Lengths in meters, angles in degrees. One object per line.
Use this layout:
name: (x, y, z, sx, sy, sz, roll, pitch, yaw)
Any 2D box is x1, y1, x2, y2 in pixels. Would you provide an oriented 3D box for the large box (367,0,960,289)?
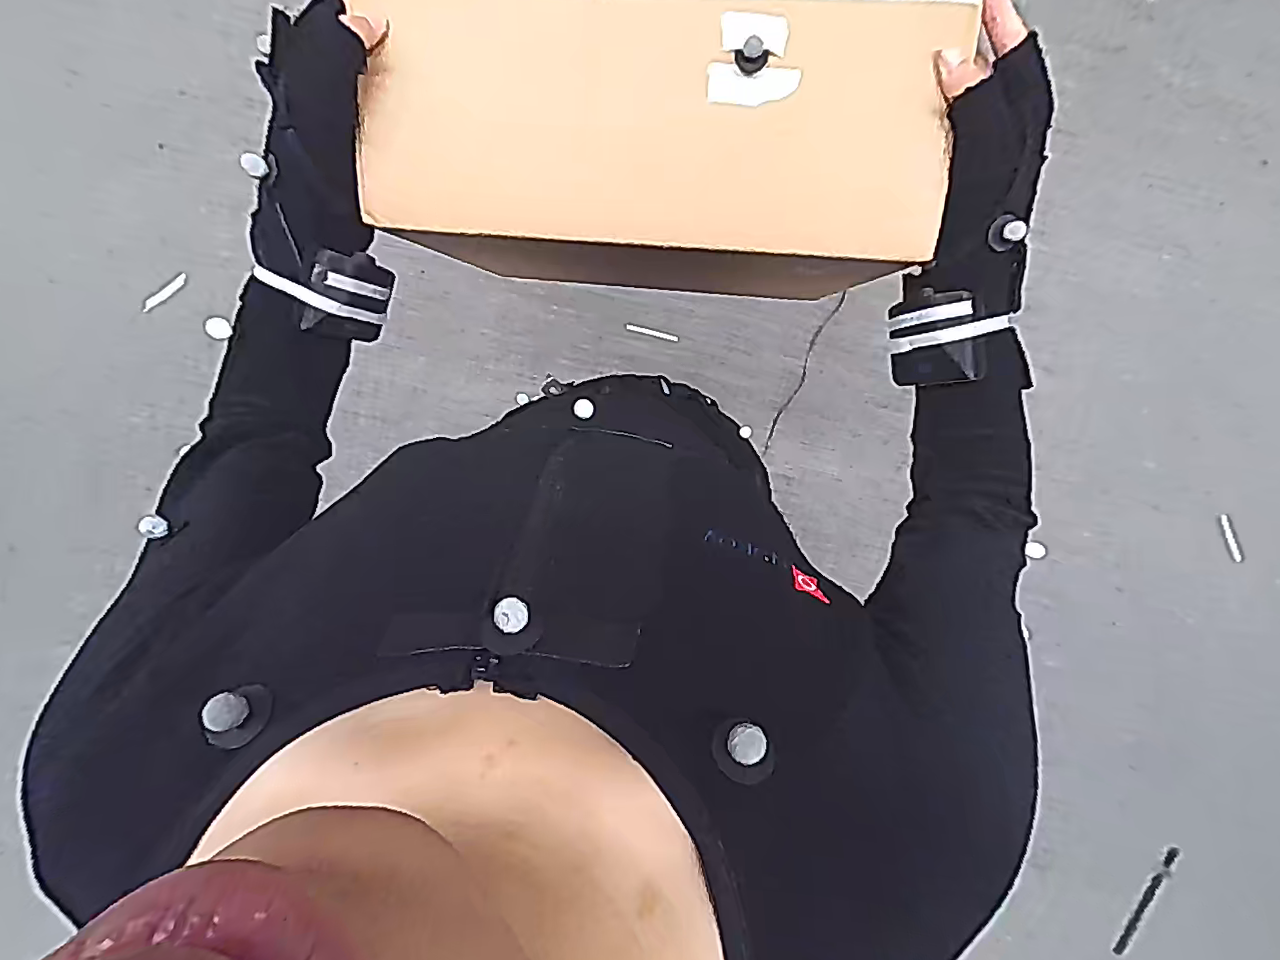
large box: (0.019, -0.363, 0.503, 0.408, 0.320, 0.320, 4, 104, 3)
